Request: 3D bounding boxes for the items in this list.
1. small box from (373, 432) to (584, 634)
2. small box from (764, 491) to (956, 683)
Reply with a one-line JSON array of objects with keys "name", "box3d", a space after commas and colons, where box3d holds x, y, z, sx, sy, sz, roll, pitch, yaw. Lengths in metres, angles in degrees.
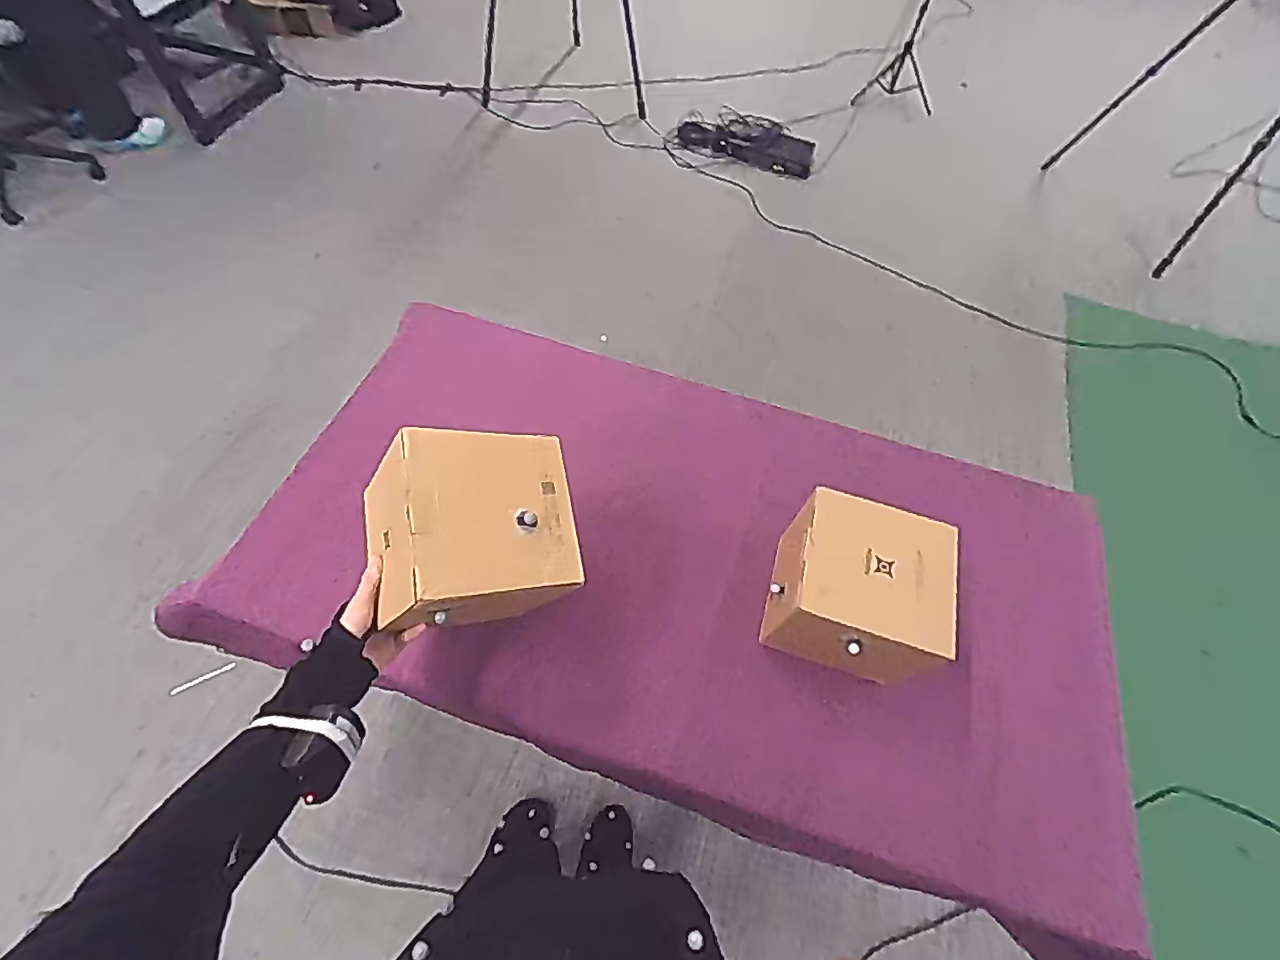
[{"name": "small box", "box3d": [-0.183, 0.064, 0.595, 0.176, 0.179, 0.168, 2, 65, -38]}, {"name": "small box", "box3d": [0.272, 0.144, 0.693, 0.179, 0.176, 0.168, 17, 60, 6]}]
